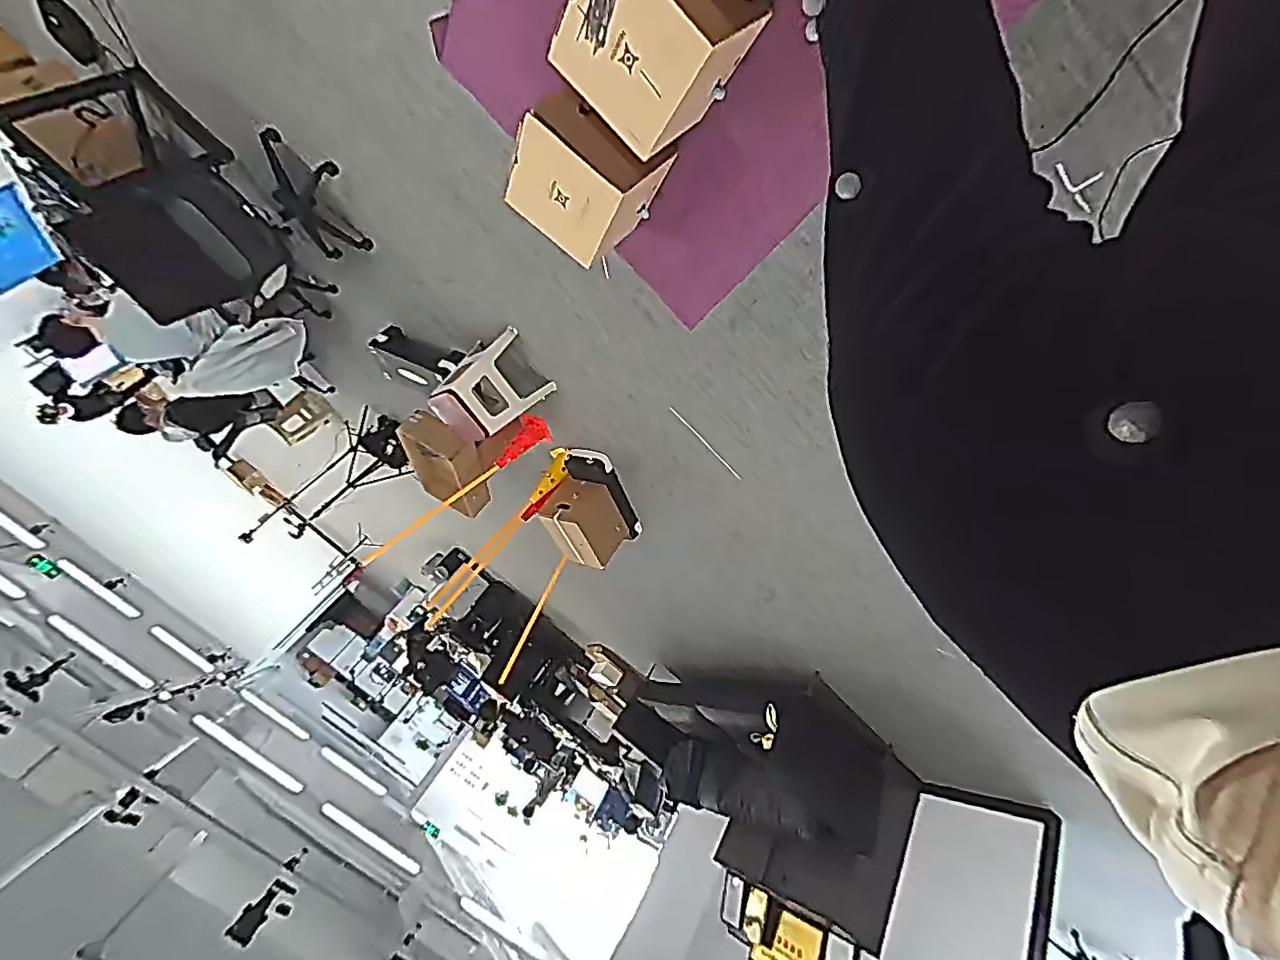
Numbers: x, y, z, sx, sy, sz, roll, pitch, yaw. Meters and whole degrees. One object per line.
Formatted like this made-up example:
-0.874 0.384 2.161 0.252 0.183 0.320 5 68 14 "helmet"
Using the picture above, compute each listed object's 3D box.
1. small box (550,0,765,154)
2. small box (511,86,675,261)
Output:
0.022 -0.572 0.688 0.179 0.176 0.168 42 150 -11 "small box"
-0.077 -0.507 0.882 0.179 0.176 0.168 40 150 -7 "small box"
